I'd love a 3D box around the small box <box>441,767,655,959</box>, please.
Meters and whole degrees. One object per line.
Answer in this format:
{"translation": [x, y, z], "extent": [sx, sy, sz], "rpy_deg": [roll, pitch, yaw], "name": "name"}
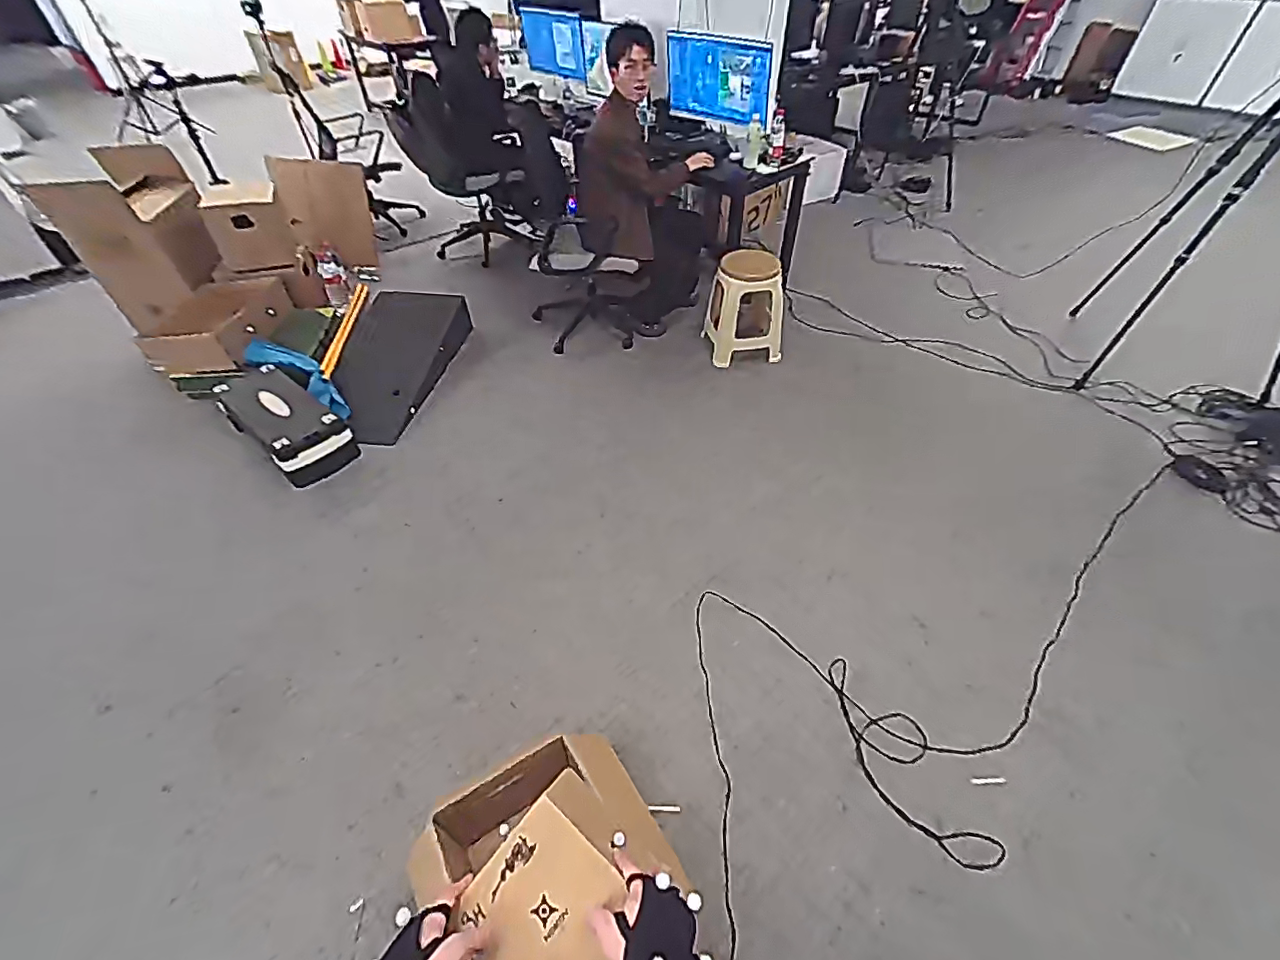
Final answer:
{"translation": [-0.095, 0.482, 0.654], "extent": [0.179, 0.176, 0.168], "rpy_deg": [40, 78, 14], "name": "small box"}
